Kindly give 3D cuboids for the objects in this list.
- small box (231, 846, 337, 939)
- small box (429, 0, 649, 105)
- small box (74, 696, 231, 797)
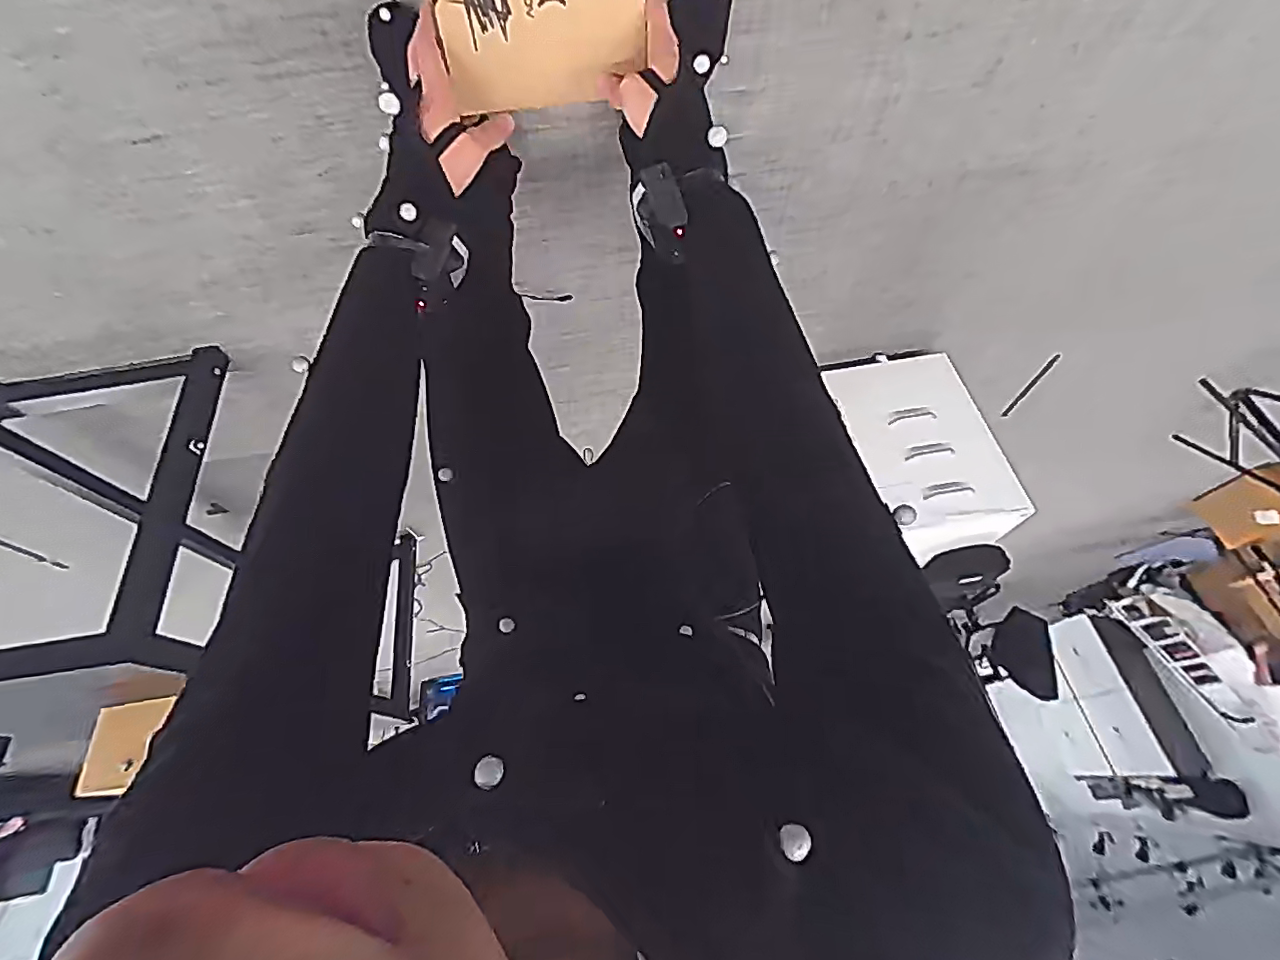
[{"bbox_3d":[-0.965,1.121,1.485,0.179,0.176,0.168,-10,152,-1],"label":"small box"},{"bbox_3d":[-0.095,-0.451,0.463,0.179,0.176,0.168,-11,144,-7],"label":"small box"},{"bbox_3d":[-1.042,0.580,1.176,0.179,0.176,0.168,-9,151,-2],"label":"small box"}]
